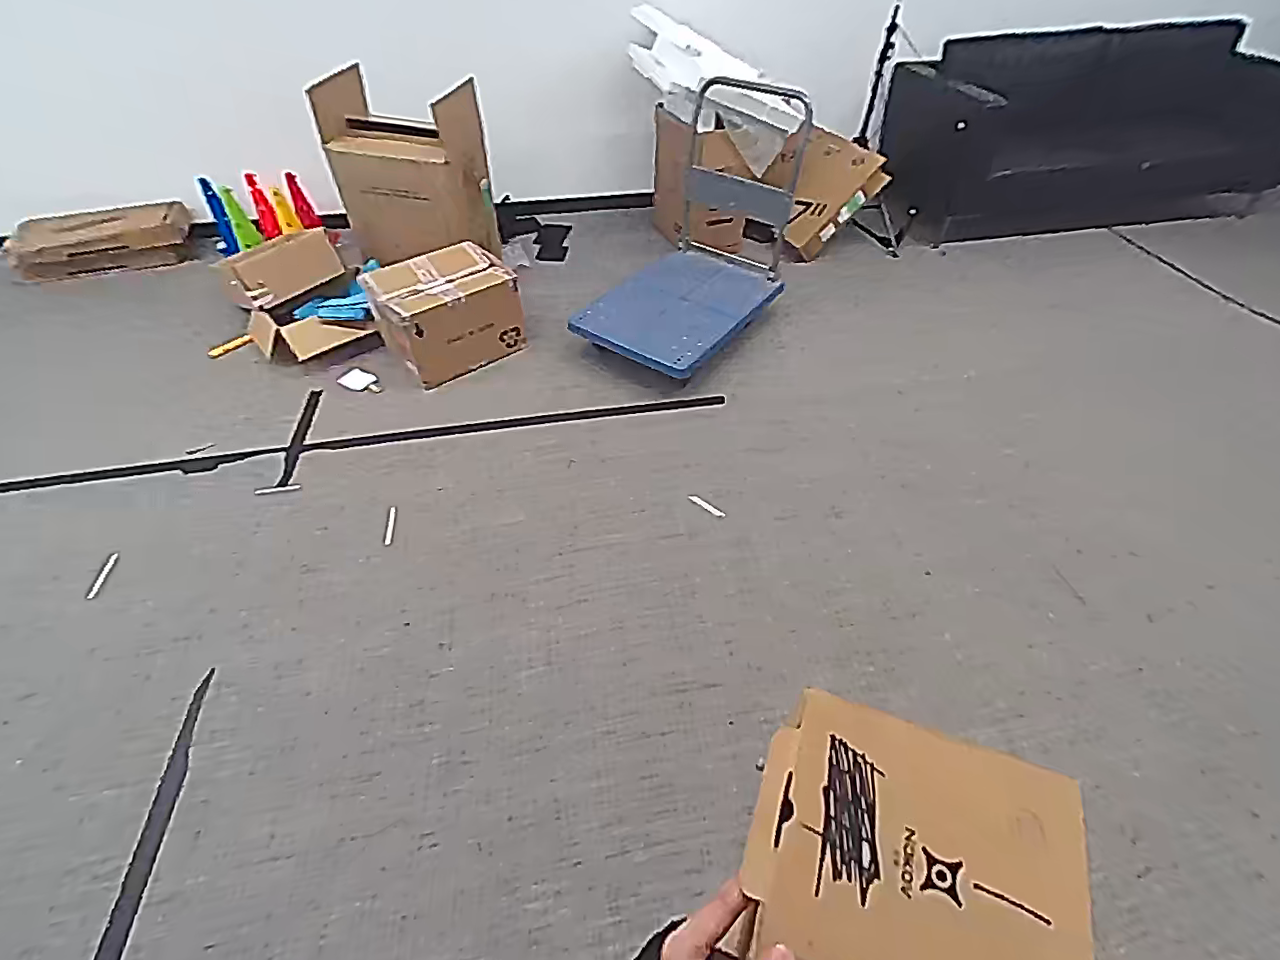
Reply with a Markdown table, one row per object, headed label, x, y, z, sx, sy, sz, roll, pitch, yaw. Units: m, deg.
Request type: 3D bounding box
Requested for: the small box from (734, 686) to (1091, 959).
| label | x | y | z | sx | sy | sz | roll | pitch | yaw |
| --- | --- | --- | --- | --- | --- | --- | --- | --- | --- |
| small box | 0.172 | 0.277 | 0.383 | 0.179 | 0.176 | 0.168 | 15 | 55 | 15 |
